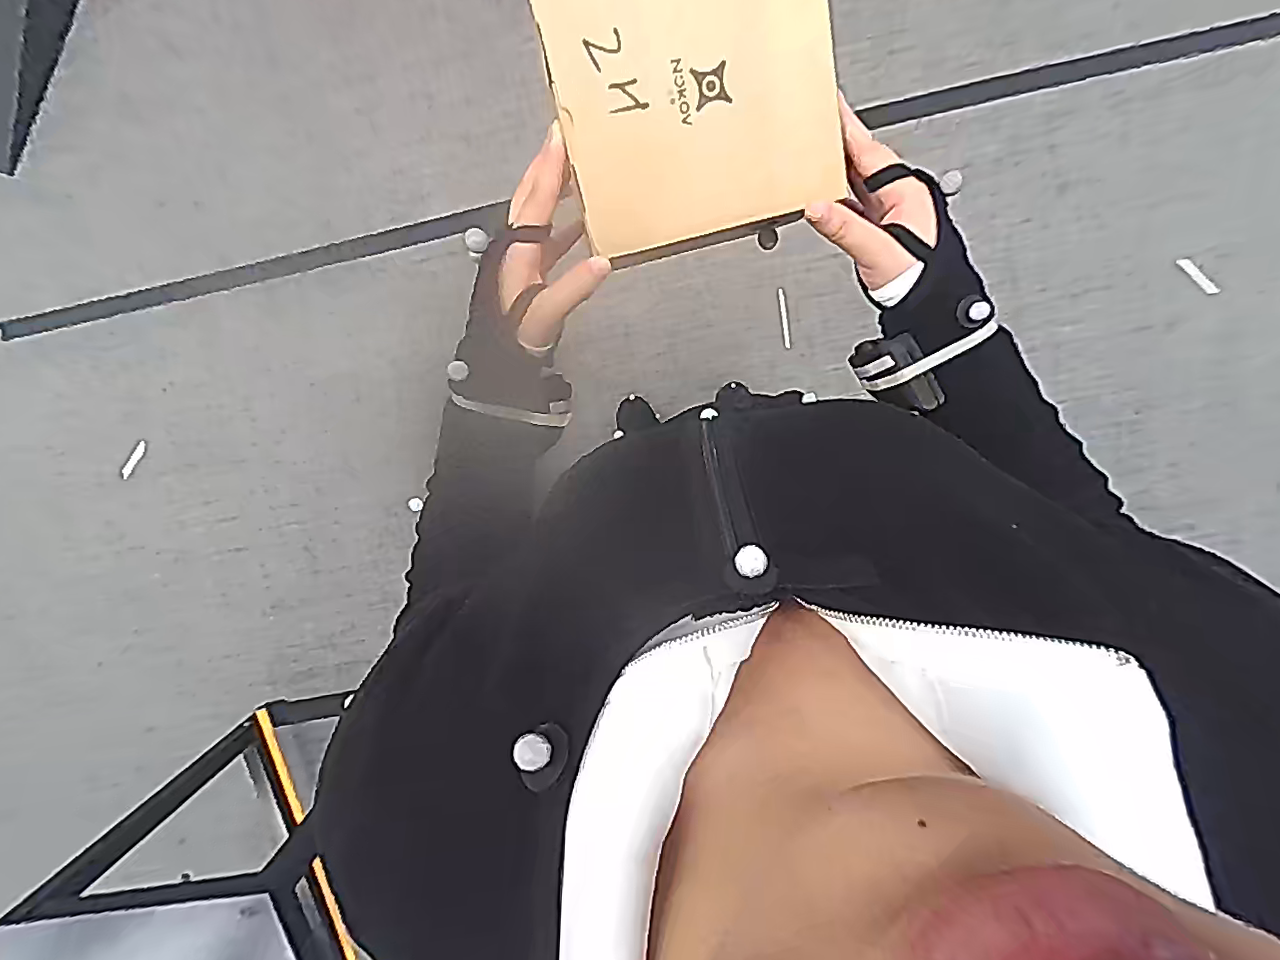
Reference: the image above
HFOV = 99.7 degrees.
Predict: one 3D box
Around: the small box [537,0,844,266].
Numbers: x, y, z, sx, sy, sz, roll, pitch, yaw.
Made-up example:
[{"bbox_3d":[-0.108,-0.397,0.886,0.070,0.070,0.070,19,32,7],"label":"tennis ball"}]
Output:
[{"bbox_3d":[0.030,-0.269,0.412,0.179,0.176,0.168,-14,109,0],"label":"small box"}]
